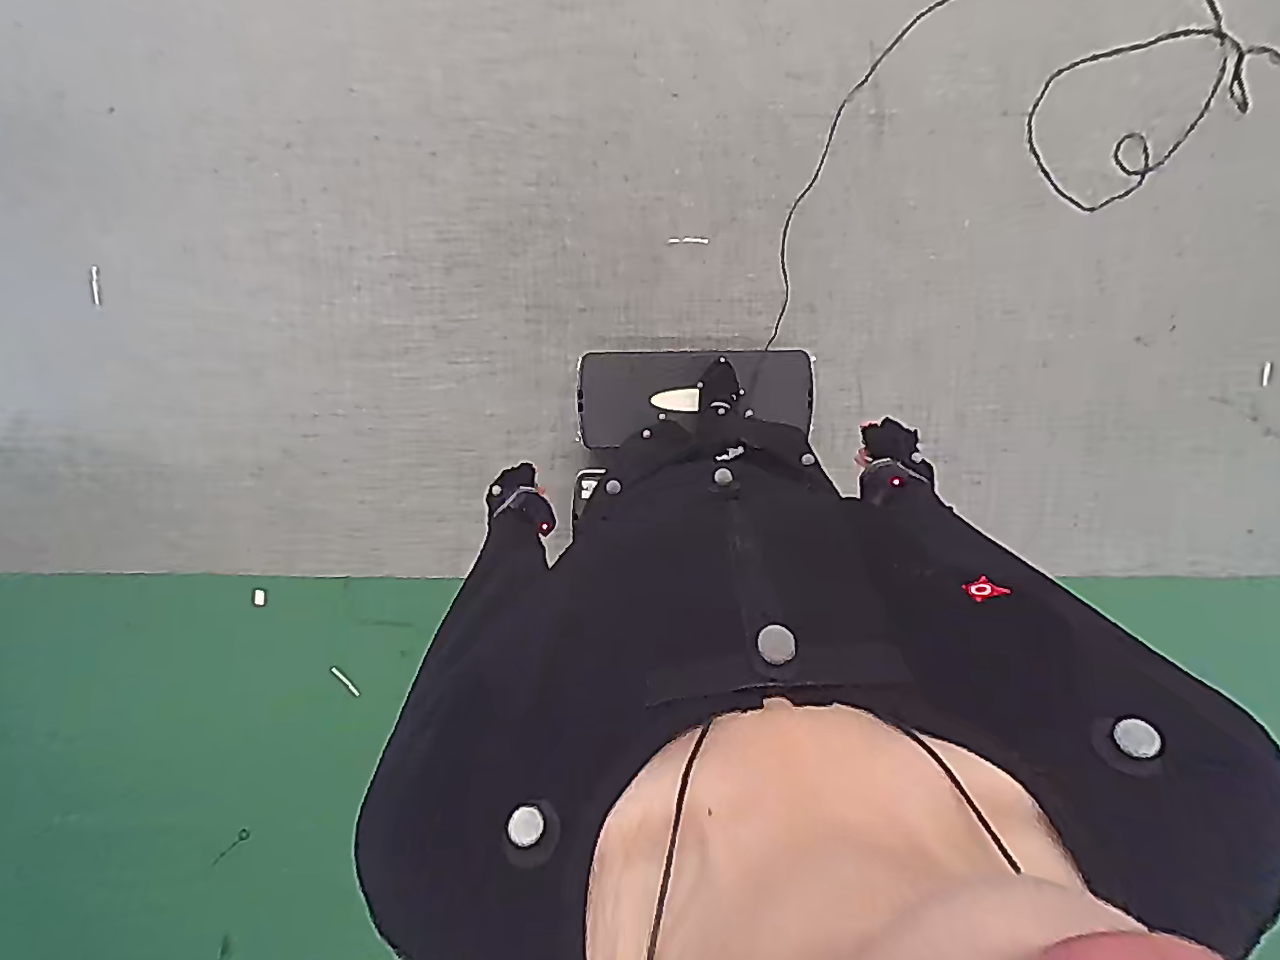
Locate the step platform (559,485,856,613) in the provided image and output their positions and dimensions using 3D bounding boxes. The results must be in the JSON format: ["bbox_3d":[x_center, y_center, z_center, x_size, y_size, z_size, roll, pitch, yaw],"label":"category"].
[{"bbox_3d":[0.155,0.159,1.328,0.684,0.204,0.286,0,95,0],"label":"step platform"}]
